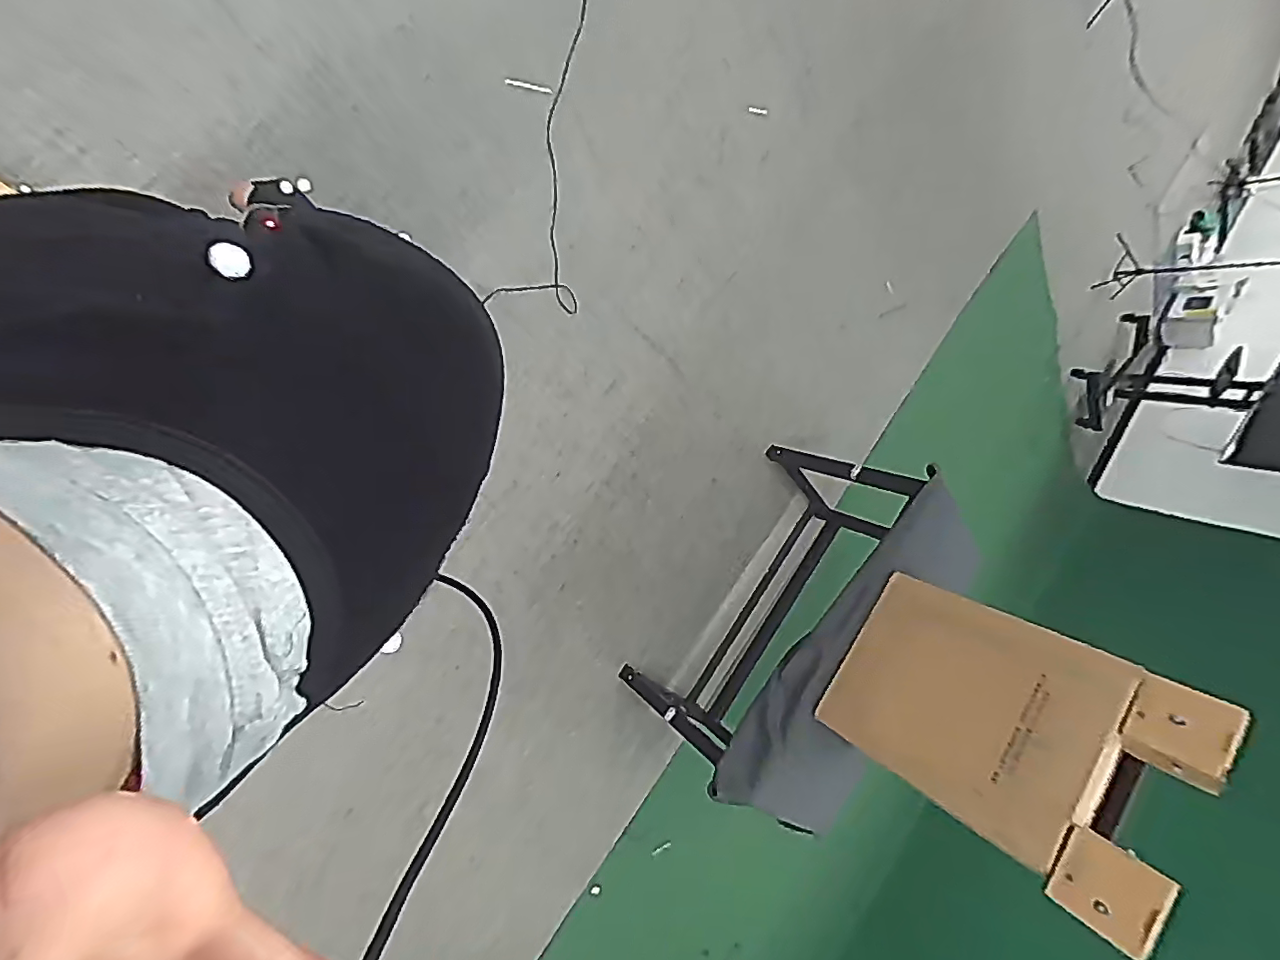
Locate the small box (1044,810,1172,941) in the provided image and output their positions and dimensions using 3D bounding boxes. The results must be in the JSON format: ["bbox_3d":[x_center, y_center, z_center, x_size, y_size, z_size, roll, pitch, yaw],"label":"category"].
[{"bbox_3d":[1.031,0.862,1.197,0.179,0.176,0.168,32,86,-39],"label":"small box"}]

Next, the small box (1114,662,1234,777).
[{"bbox_3d":[1.250,0.555,1.272,0.179,0.176,0.168,42,76,-37],"label":"small box"}]
